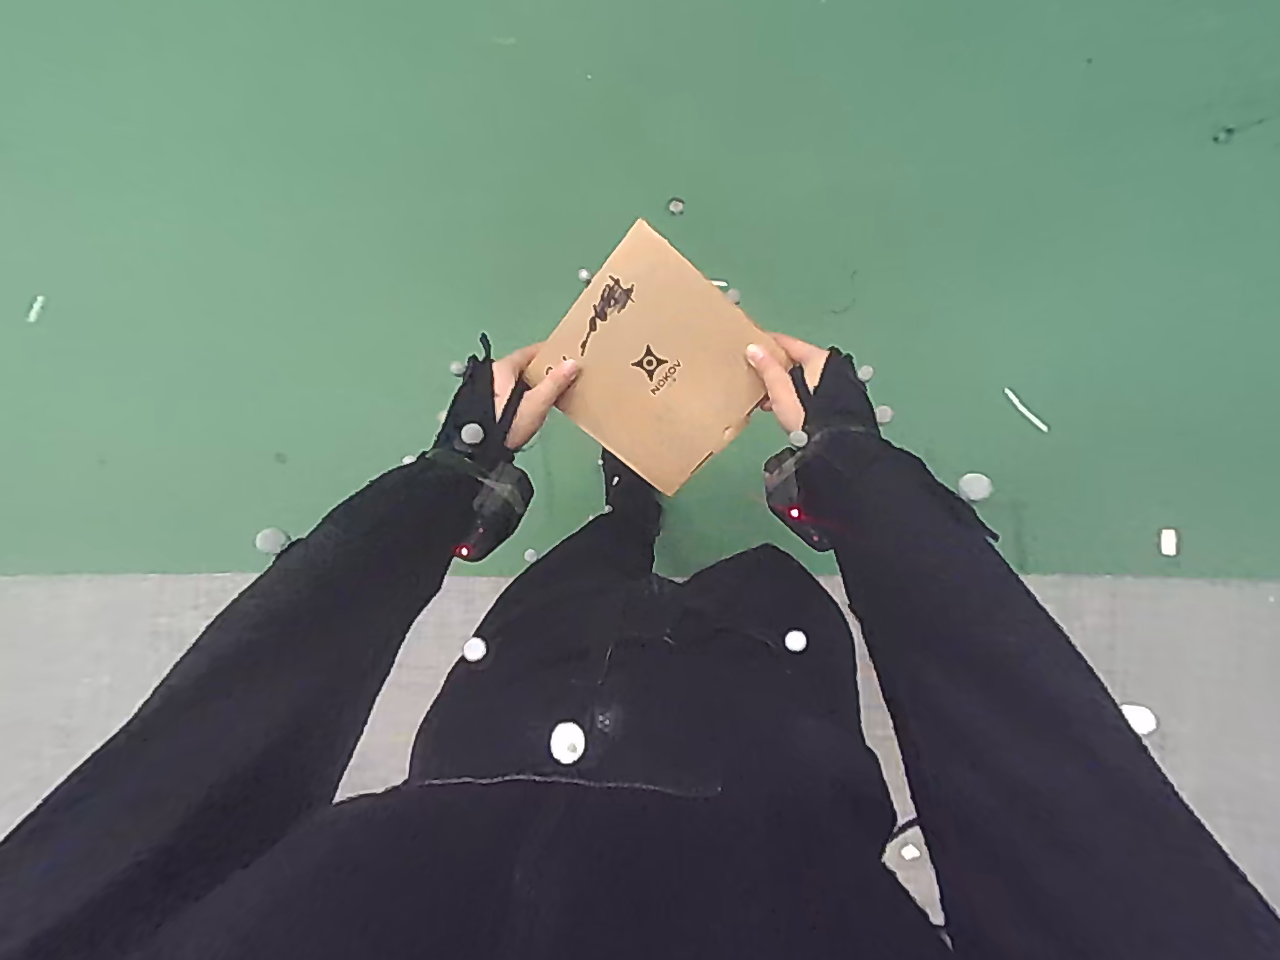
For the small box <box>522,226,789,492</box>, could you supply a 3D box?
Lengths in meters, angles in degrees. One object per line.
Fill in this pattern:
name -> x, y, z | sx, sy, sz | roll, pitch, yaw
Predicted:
small box -> 0.016, -0.124, 0.542 | 0.179, 0.176, 0.168 | 39, 107, -11
